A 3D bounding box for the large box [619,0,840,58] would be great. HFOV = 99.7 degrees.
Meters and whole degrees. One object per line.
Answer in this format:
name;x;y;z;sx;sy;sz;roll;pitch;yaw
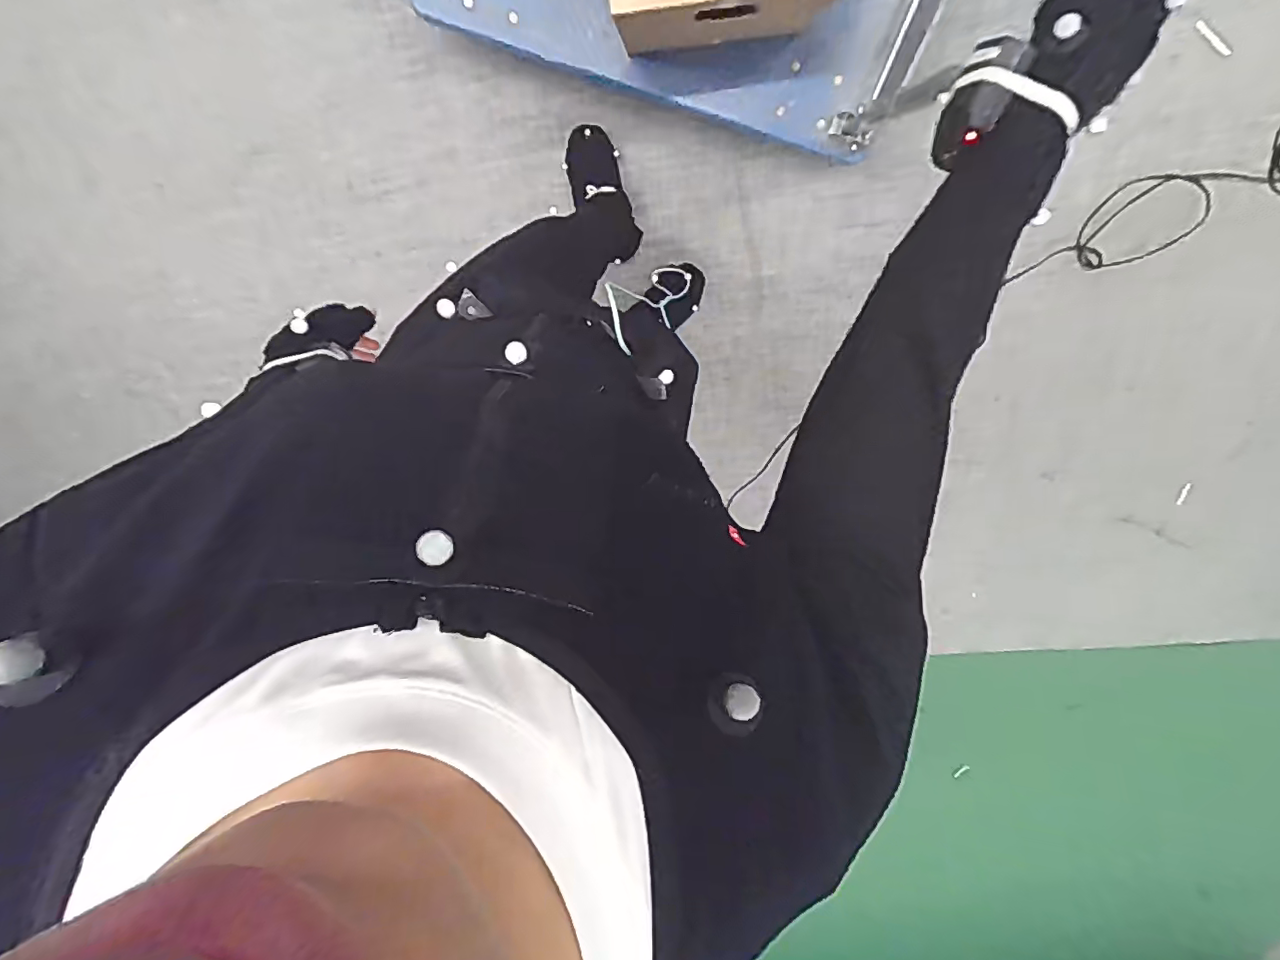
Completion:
large box;0.109;-0.861;0.728;0.320;0.320;0.408;-4;121;6
